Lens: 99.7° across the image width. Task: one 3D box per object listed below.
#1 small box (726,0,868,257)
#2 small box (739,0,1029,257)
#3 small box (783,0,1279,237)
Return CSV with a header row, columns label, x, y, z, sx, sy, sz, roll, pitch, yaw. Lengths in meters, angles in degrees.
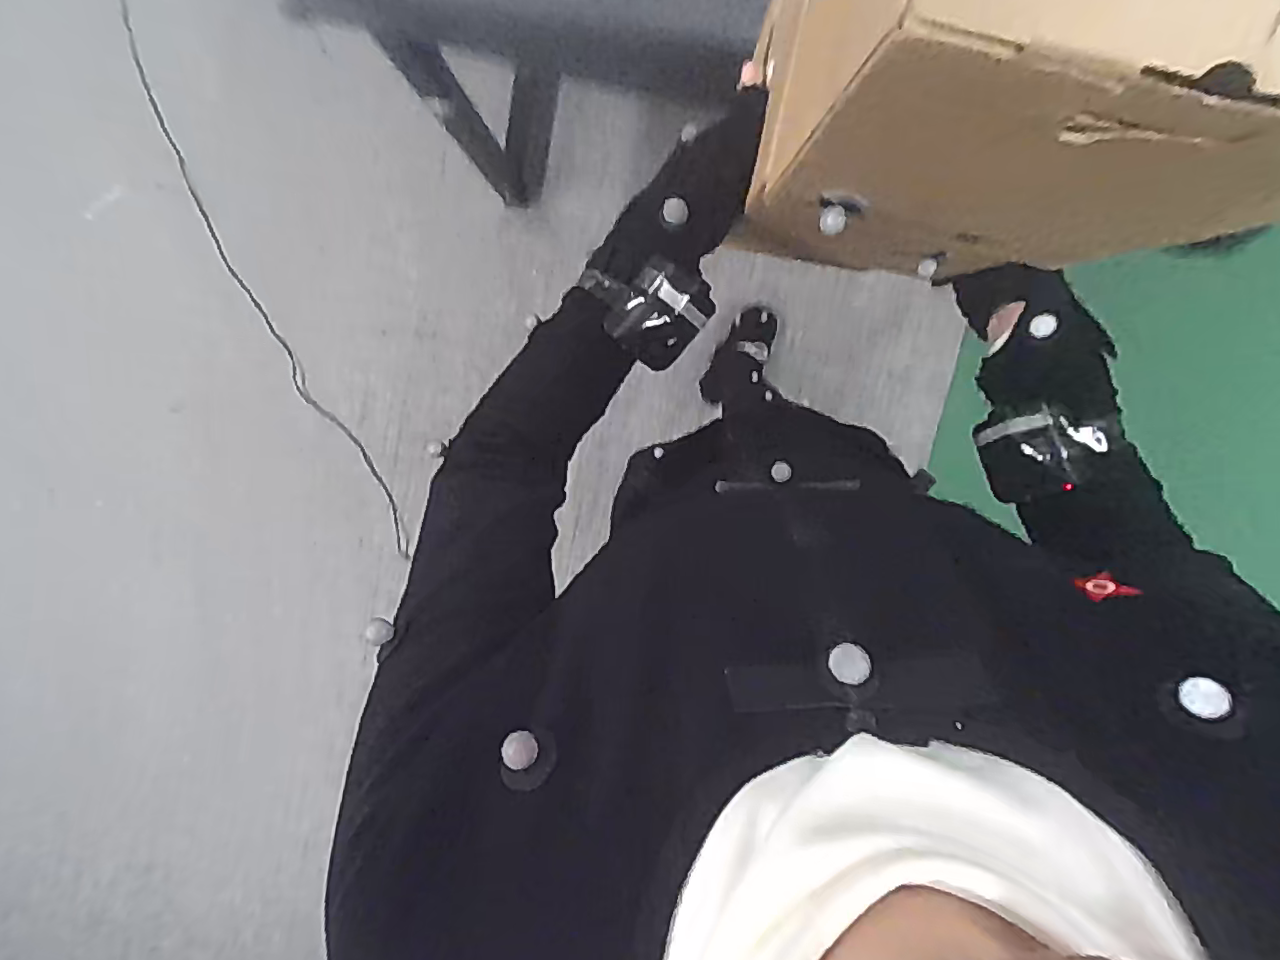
label,x,y,z,sx,sy,sz,roll,pitch,yaw
small box,0.183,-0.316,0.507,0.179,0.176,0.168,7,103,0
small box,0.173,-0.245,0.339,0.179,0.176,0.168,7,104,0
small box,0.164,-0.206,0.196,0.168,0.176,0.179,12,103,-2
